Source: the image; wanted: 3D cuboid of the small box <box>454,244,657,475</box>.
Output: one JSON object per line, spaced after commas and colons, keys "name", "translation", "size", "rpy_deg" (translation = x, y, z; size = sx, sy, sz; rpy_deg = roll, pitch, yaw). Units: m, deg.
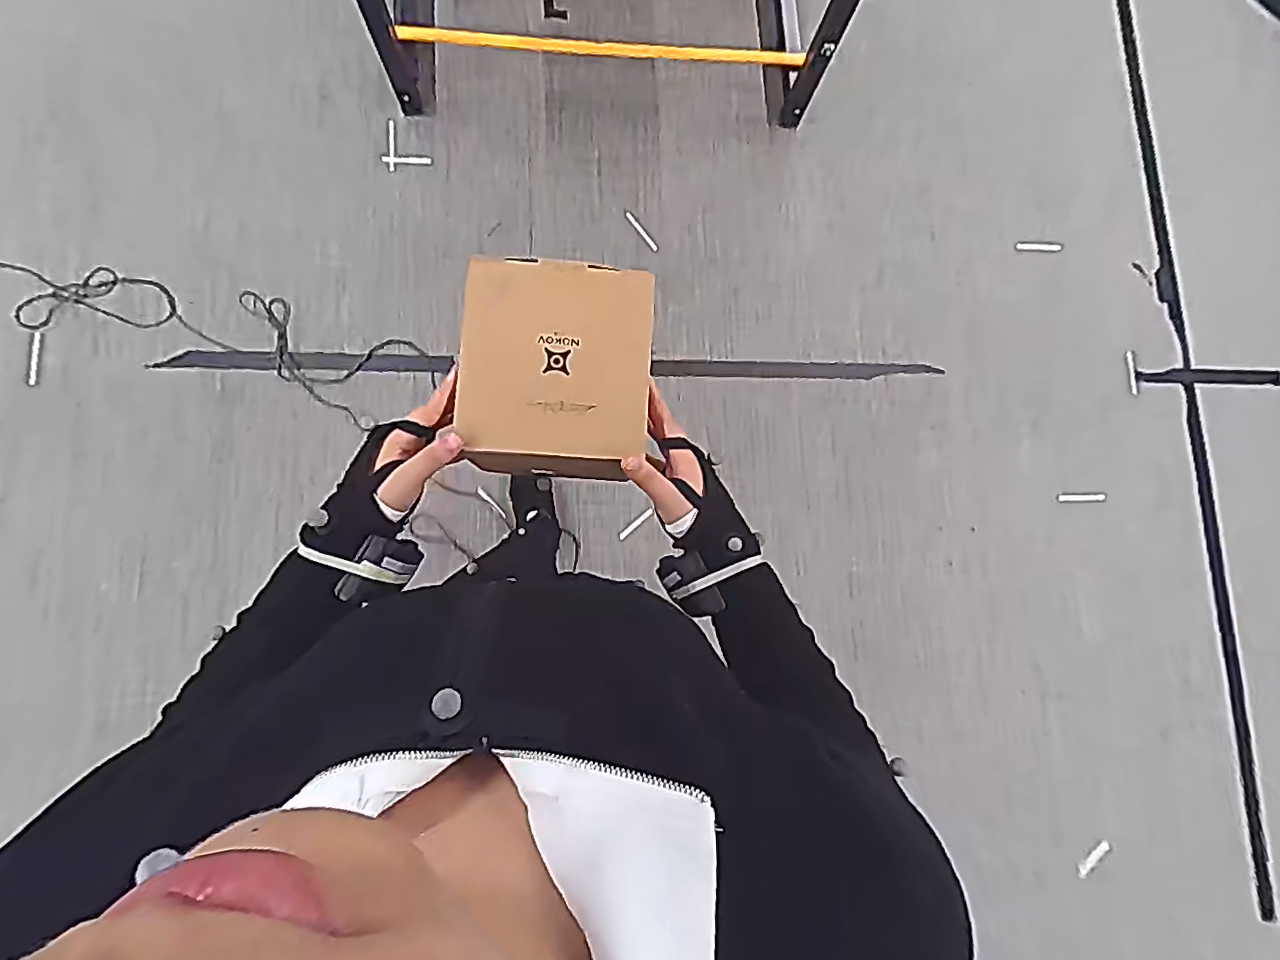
{"name": "small box", "translation": [-0.079, -0.106, 0.548], "size": [0.168, 0.176, 0.179], "rpy_deg": [4, 84, -5]}
